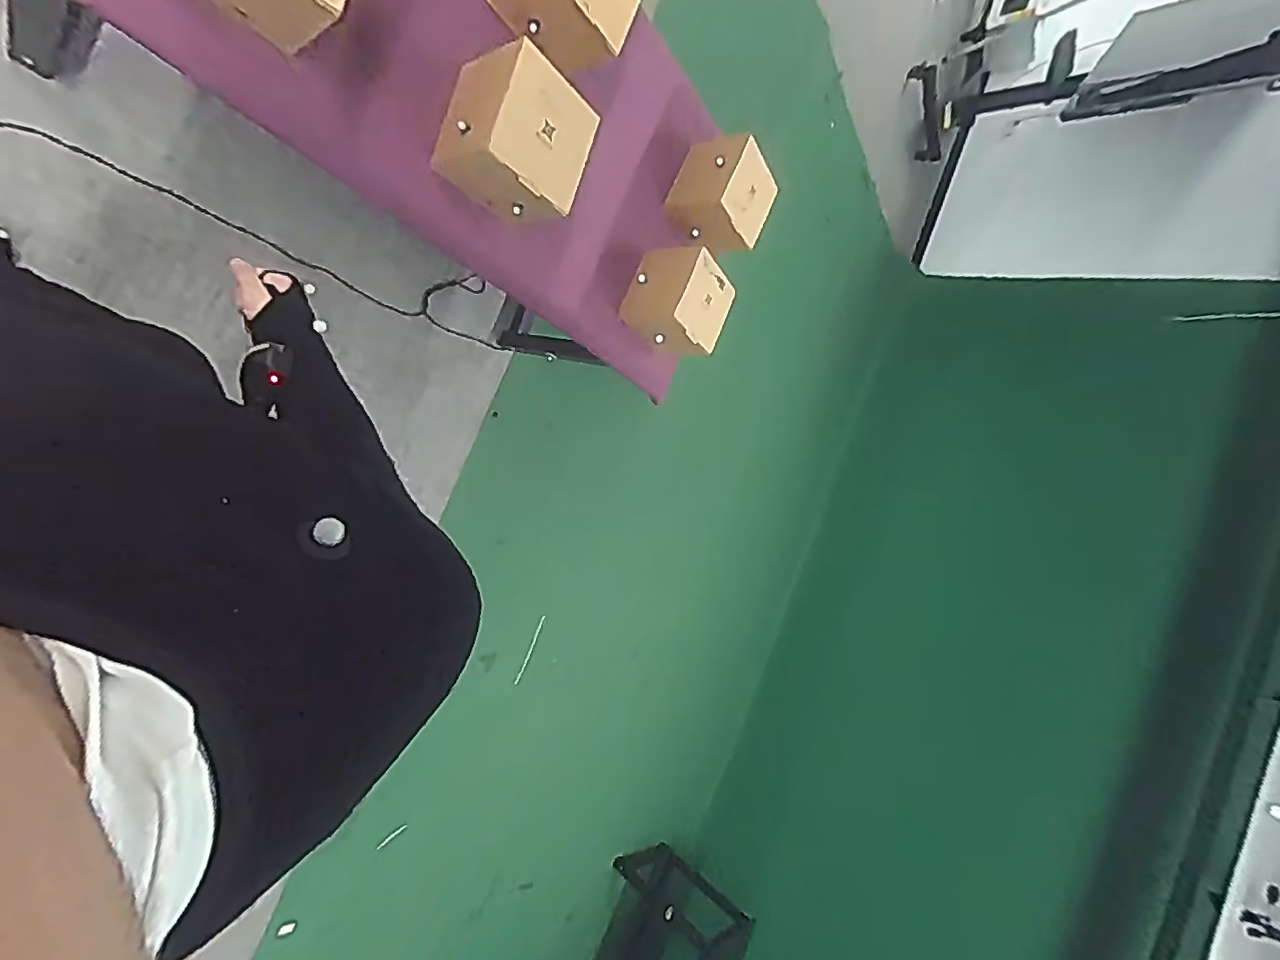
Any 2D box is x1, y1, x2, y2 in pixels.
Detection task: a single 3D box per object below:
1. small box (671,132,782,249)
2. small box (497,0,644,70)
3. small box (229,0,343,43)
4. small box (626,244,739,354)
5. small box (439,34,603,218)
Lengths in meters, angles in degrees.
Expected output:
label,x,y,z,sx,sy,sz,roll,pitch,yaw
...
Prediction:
label,x,y,z,sx,sy,sz,roll,pitch,yaw
small box,0.200,-0.666,1.262,0.168,0.176,0.179,32,81,-49
small box,-0.104,-0.811,0.865,0.168,0.176,0.179,23,88,-50
small box,-0.414,-0.629,0.582,0.168,0.176,0.179,15,92,-51
small box,0.093,-0.412,1.241,0.168,0.176,0.179,32,79,-49
small box,-0.194,-0.546,0.867,0.168,0.176,0.179,20,88,-51
